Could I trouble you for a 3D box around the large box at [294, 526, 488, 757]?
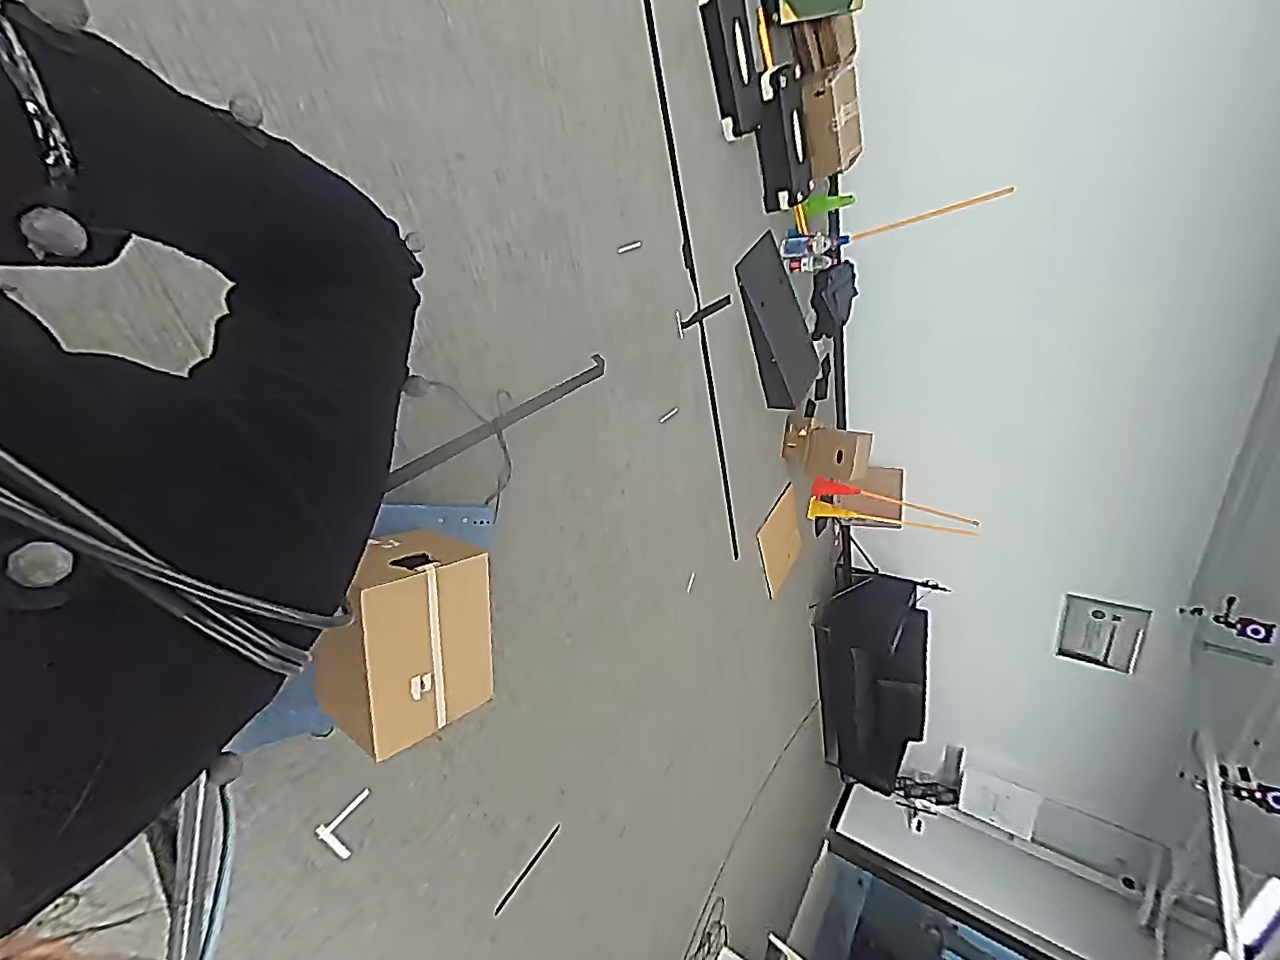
[{"bbox_3d":[-0.600,0.362,1.325,0.320,0.320,0.408,-13,109,-50],"label":"large box"}]
